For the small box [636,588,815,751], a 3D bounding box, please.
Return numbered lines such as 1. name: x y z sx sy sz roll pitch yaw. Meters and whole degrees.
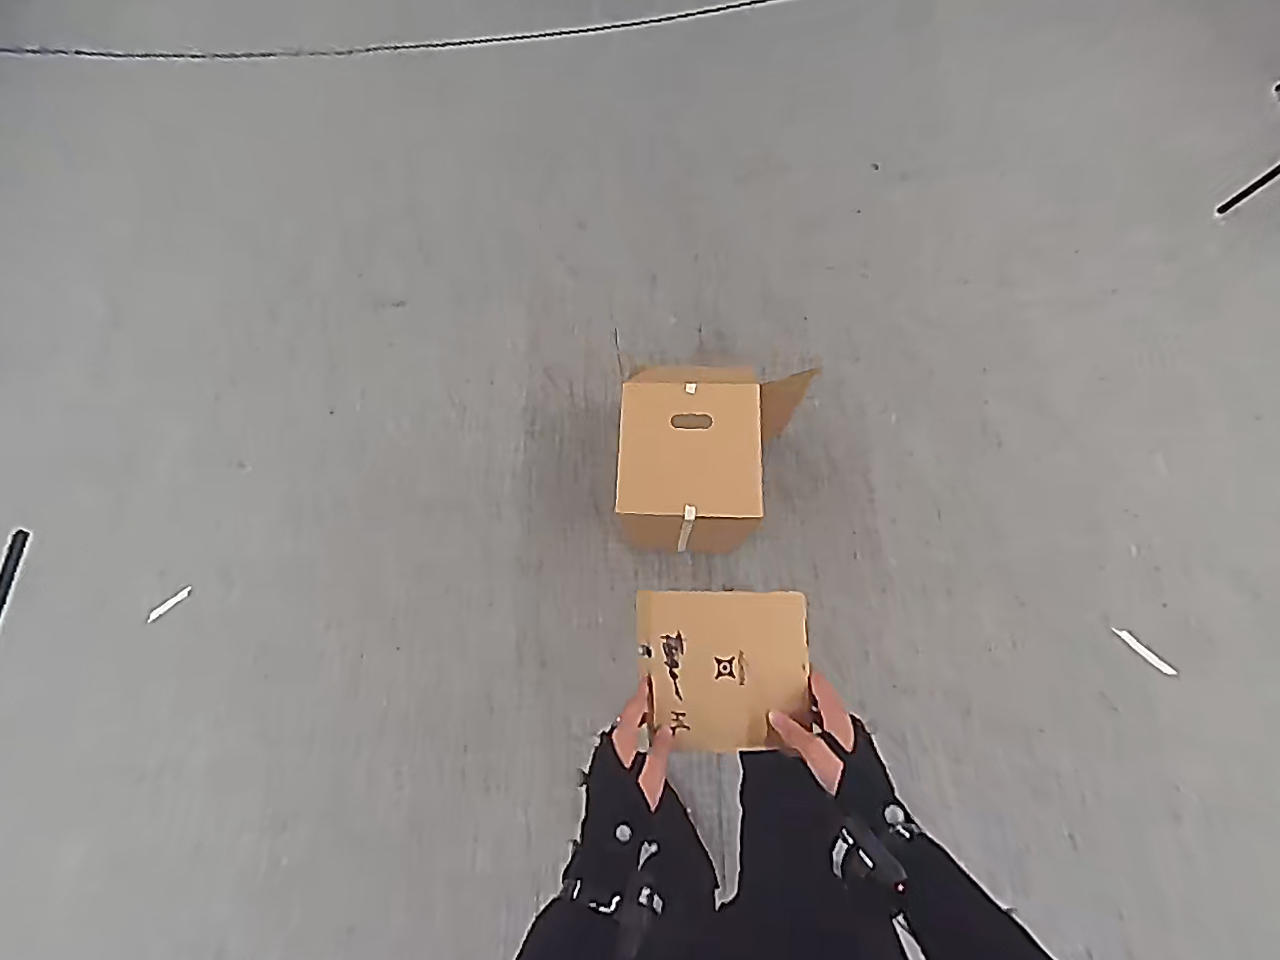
1. small box: 0.093 0.218 0.659 0.179 0.176 0.168 1 78 -6
